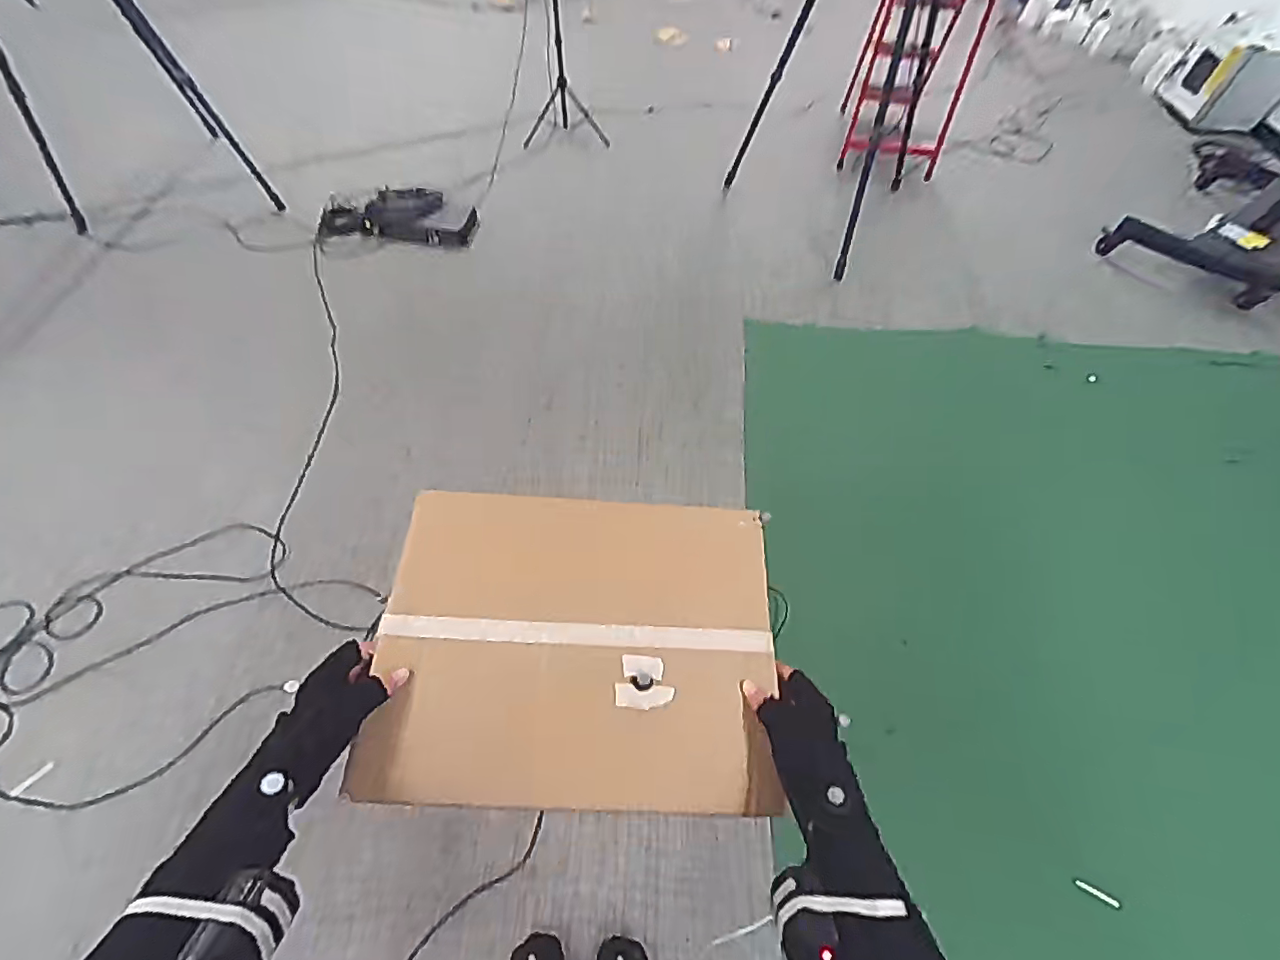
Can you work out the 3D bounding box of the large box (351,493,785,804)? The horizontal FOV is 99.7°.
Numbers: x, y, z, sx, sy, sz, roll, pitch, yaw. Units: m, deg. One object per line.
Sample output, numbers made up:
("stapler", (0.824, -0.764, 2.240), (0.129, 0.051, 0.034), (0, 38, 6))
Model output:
("large box", (-0.072, 0.229, 0.692), (0.408, 0.320, 0.320), (3, 61, -3))
